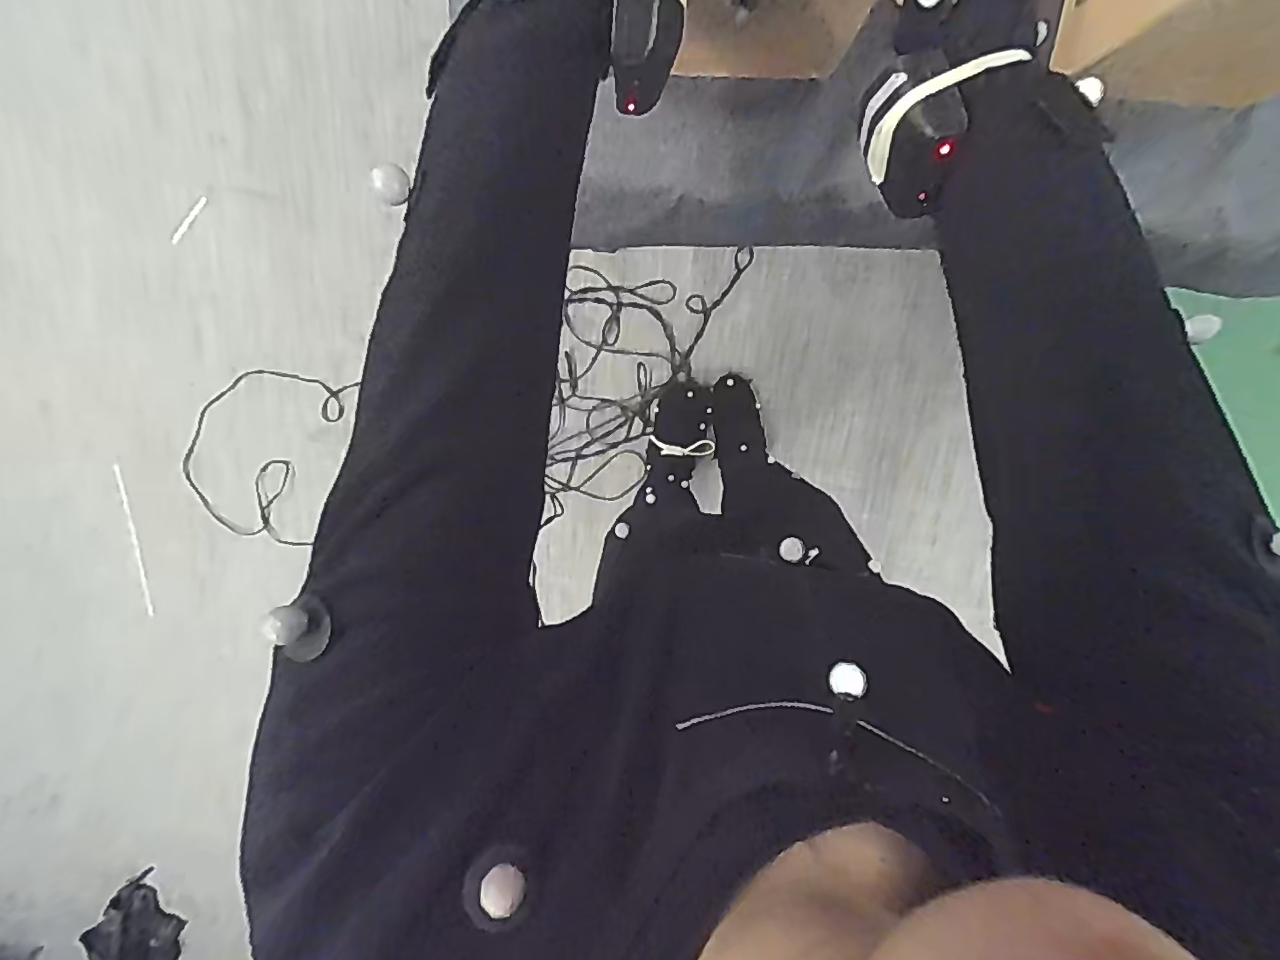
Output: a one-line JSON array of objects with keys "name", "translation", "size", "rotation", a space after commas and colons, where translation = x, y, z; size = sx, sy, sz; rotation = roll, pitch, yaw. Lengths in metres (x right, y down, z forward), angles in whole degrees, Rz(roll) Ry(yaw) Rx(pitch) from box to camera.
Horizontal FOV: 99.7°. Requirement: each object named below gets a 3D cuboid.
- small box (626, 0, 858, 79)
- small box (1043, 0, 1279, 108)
[{"name": "small box", "translation": [0.079, -0.421, 0.392], "size": [0.179, 0.176, 0.168], "rotation": [4, 107, 2]}, {"name": "small box", "translation": [0.436, -0.388, 0.379], "size": [0.179, 0.176, 0.168], "rotation": [5, 105, 2]}]
